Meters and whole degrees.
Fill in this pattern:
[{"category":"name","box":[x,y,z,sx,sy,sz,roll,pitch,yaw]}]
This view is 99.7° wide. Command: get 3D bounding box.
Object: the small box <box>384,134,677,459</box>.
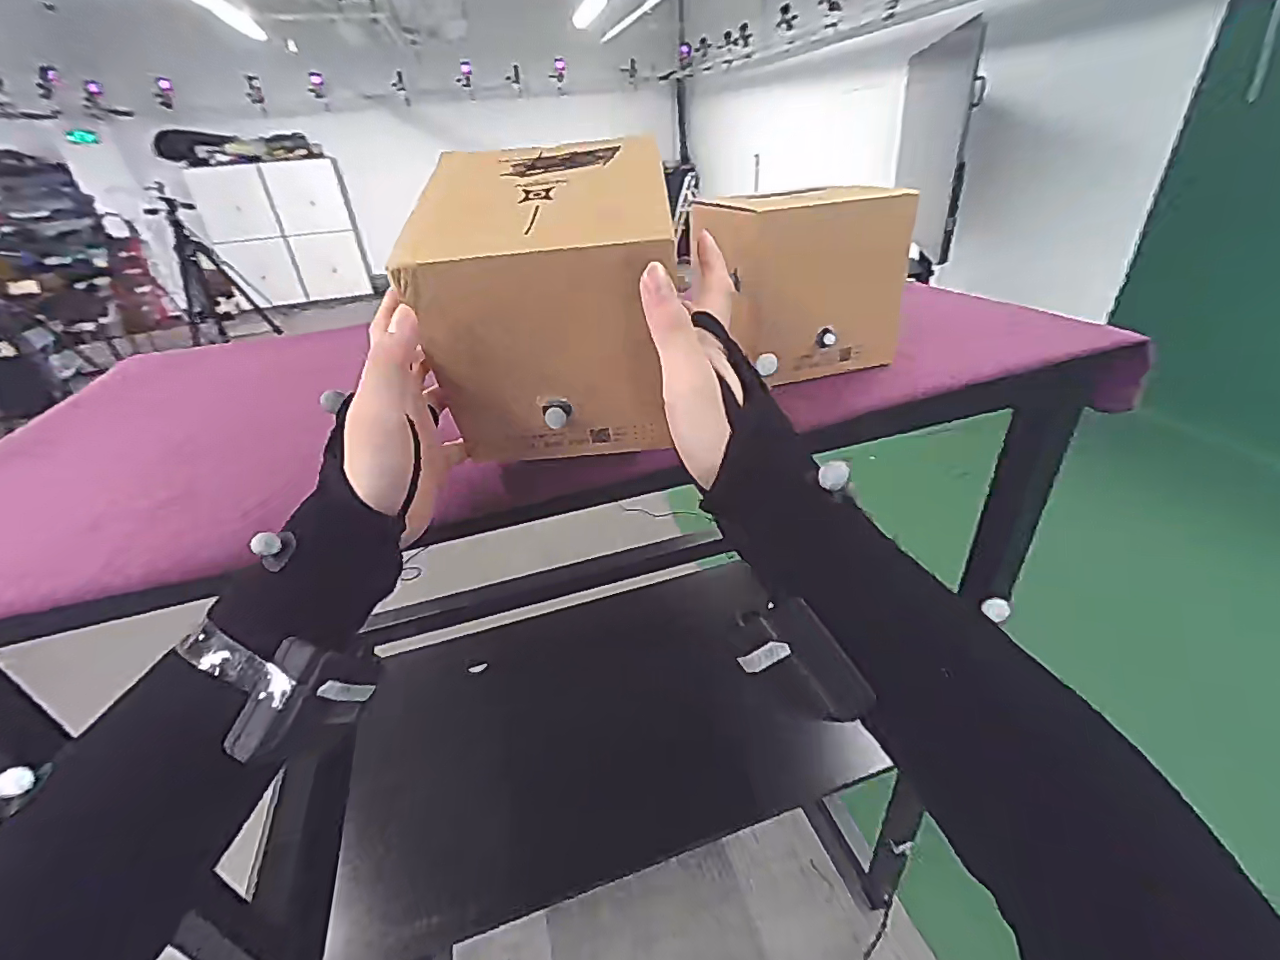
[{"category":"small box","box":[-0.059,-0.137,0.413,0.168,0.176,0.179,-4,49,2]}]
